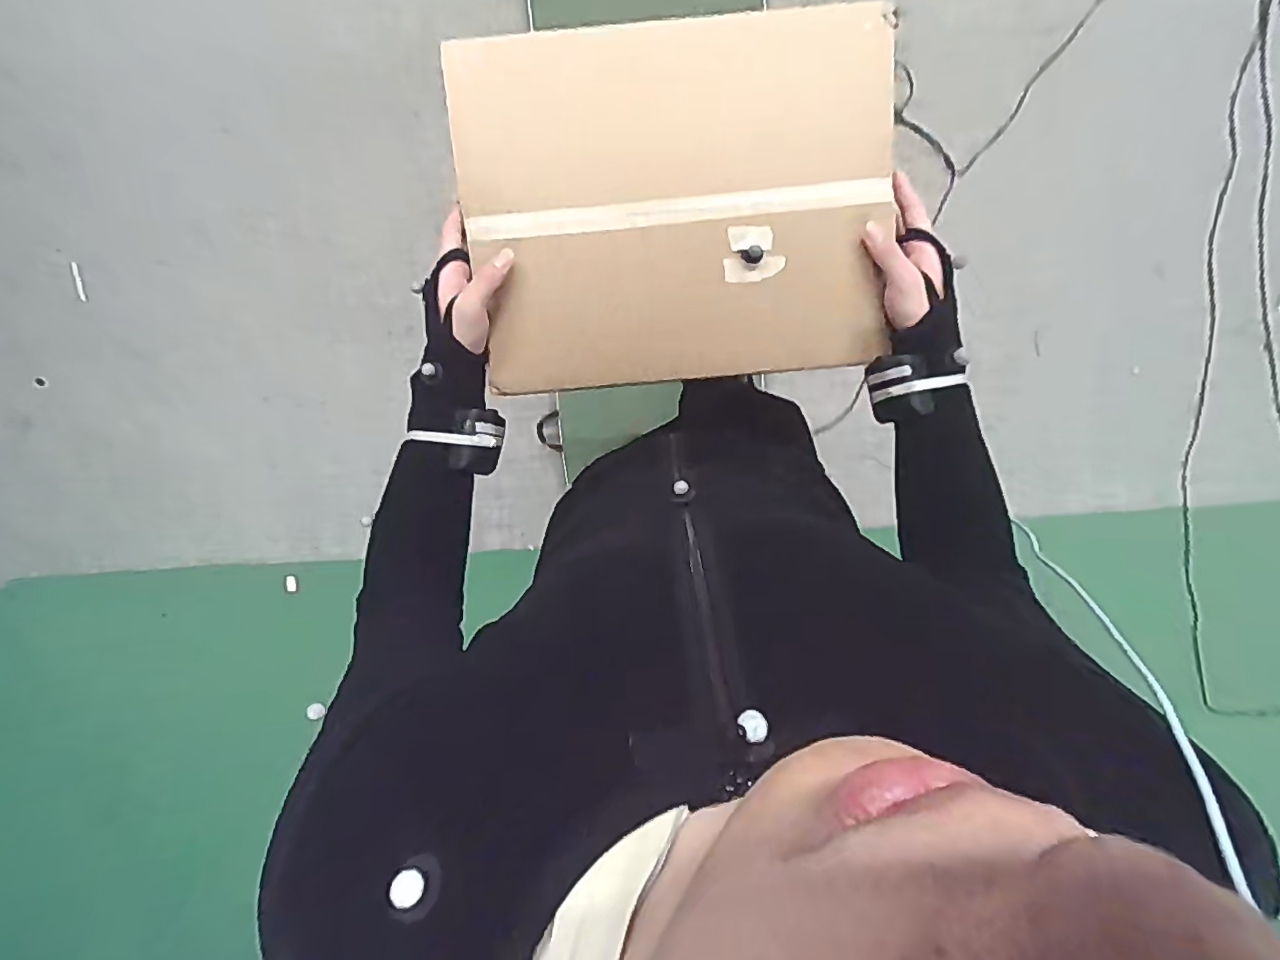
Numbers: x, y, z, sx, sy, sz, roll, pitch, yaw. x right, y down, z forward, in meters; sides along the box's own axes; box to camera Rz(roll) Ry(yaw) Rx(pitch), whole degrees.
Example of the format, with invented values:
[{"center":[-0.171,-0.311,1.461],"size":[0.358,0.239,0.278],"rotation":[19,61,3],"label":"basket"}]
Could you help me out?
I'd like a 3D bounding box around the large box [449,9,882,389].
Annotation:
[{"center":[0.030,-0.290,0.669],"size":[0.408,0.320,0.320],"rotation":[-5,102,-1],"label":"large box"}]
